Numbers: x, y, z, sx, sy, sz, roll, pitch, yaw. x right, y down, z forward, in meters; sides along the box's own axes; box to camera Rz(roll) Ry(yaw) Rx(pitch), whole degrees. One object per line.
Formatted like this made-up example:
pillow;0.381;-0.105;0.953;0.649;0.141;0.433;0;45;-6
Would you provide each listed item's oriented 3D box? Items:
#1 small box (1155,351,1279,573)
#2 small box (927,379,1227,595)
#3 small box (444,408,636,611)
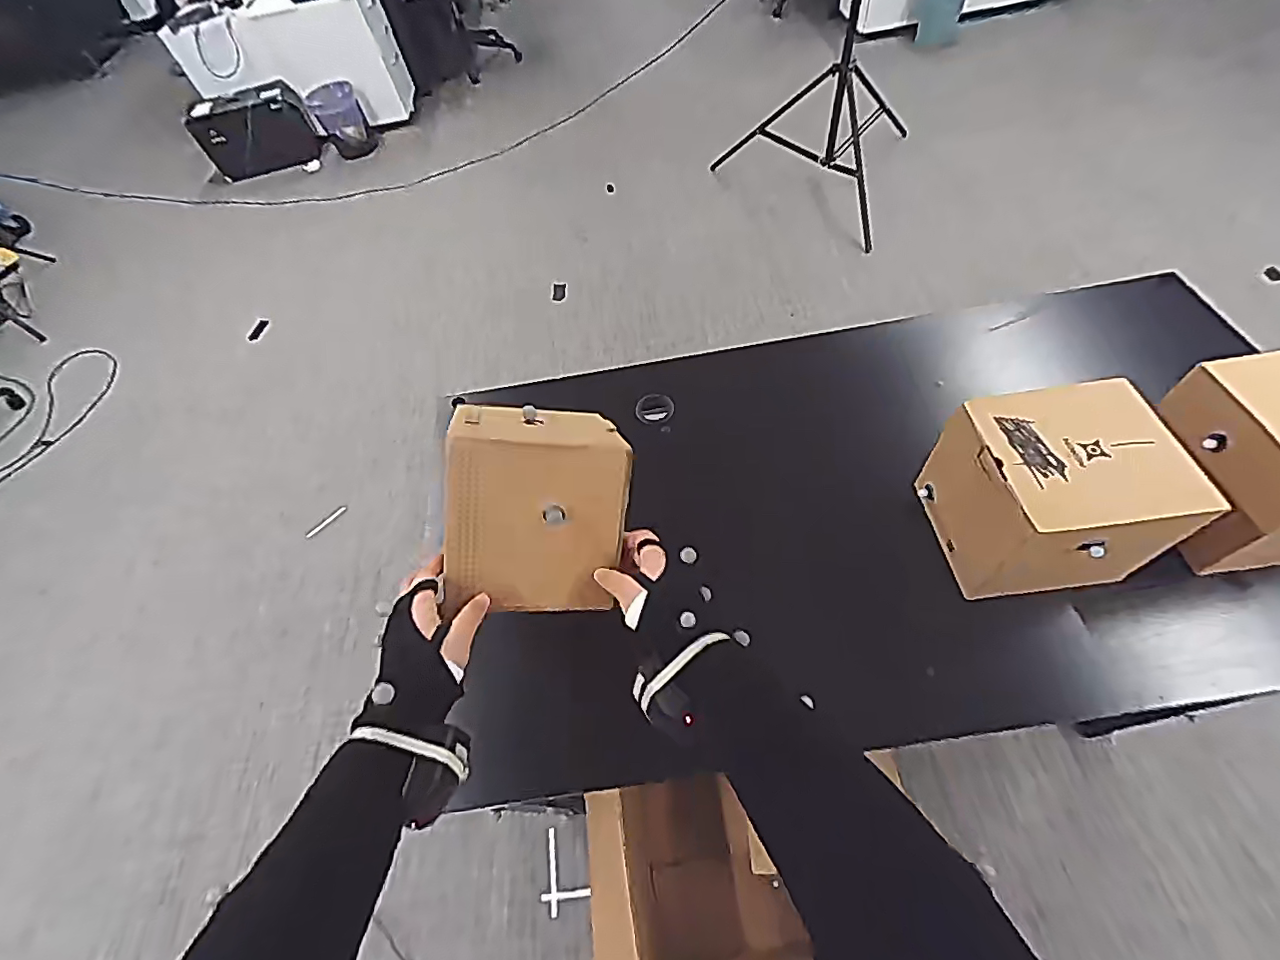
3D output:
small box;0.687;-0.021;0.583;0.168;0.176;0.179;-9;56;4
small box;0.444;0.016;0.597;0.179;0.176;0.168;-8;56;3
small box;-0.117;0.024;0.575;0.176;0.179;0.168;3;20;-18
